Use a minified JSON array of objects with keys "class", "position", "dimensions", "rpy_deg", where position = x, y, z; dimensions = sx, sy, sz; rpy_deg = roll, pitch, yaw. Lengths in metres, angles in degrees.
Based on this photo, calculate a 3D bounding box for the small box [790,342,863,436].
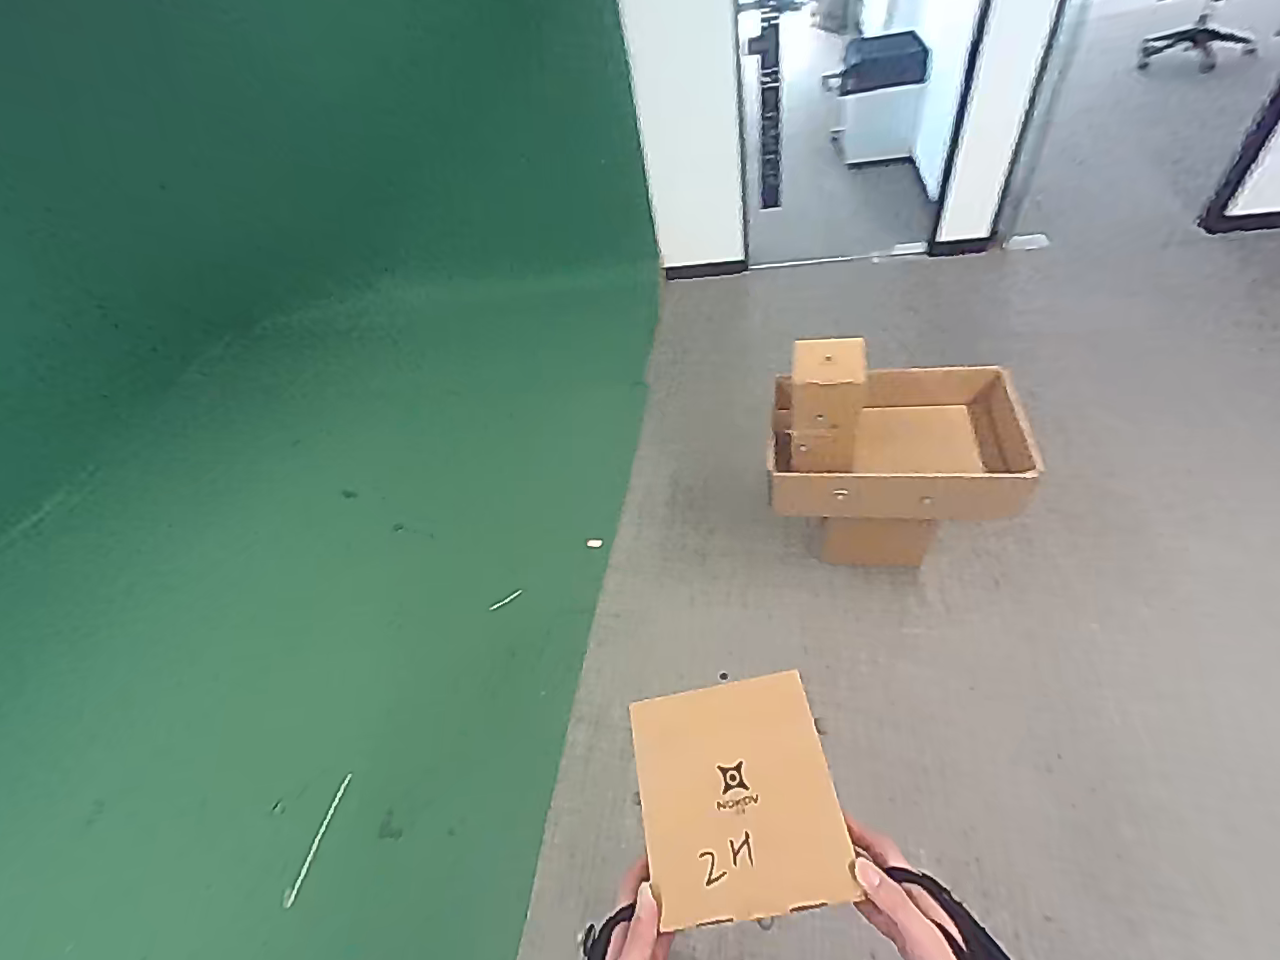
[{"class":"small box","position":[0.475,-0.233,1.390],"dimensions":[0.168,0.176,0.179],"rpy_deg":[2,49,16]}]

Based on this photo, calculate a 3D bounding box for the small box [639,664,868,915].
[{"class":"small box","position":[0.101,0.303,0.530],"dimensions":[0.168,0.176,0.179],"rpy_deg":[-12,54,6]}]
